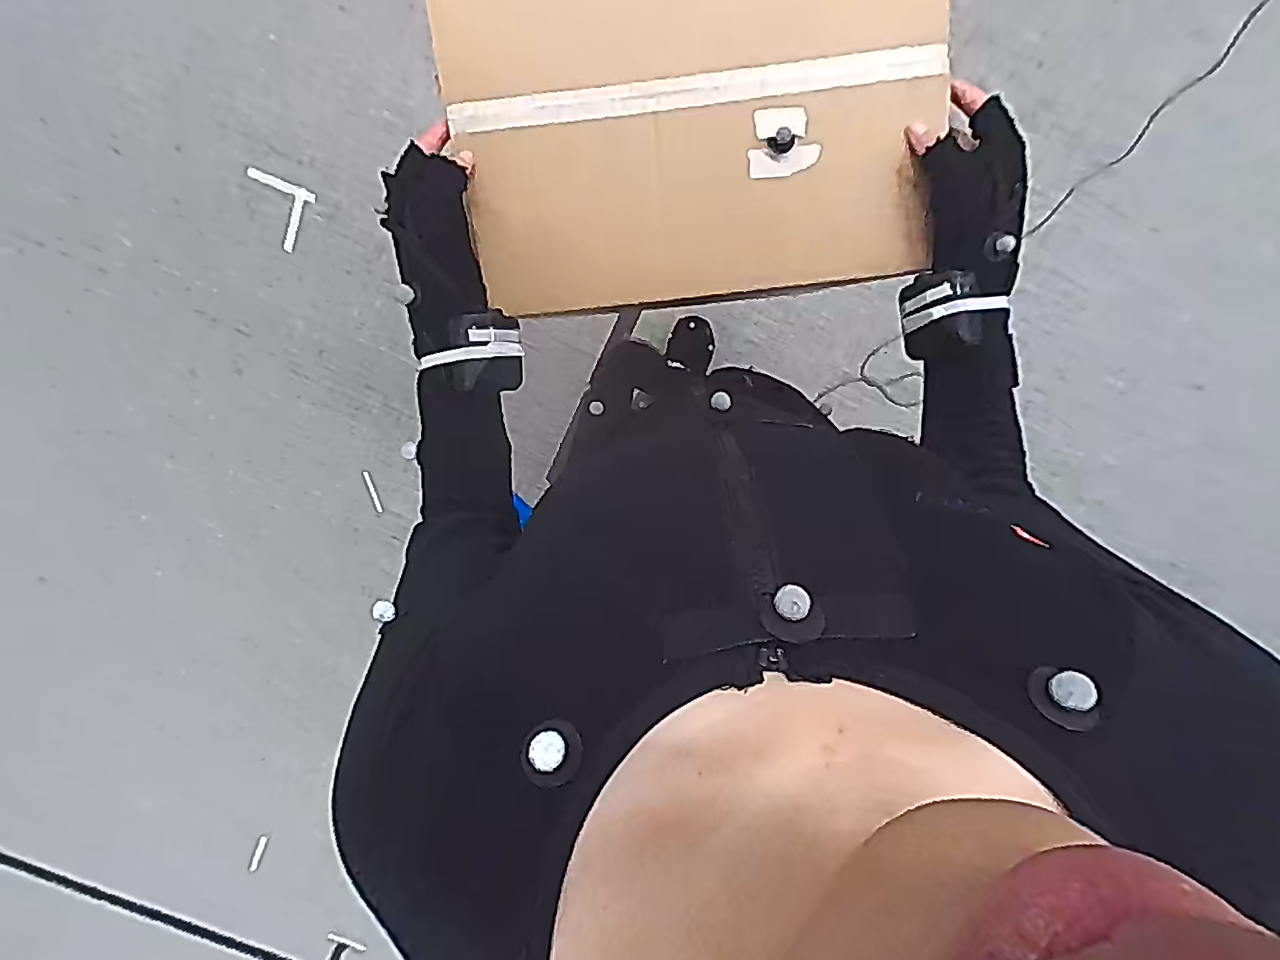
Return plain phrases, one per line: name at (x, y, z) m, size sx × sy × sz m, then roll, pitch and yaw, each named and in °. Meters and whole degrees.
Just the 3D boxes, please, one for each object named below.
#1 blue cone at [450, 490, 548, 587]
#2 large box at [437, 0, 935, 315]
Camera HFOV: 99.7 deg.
blue cone at (-0.387, 0.176, 1.378) m, size 0.192 × 0.380 × 0.193 m, roll -44°, pitch 97°, yaw 11°
large box at (0.041, -0.367, 0.593) m, size 0.408 × 0.320 × 0.320 m, roll -6°, pitch 106°, yaw 1°
